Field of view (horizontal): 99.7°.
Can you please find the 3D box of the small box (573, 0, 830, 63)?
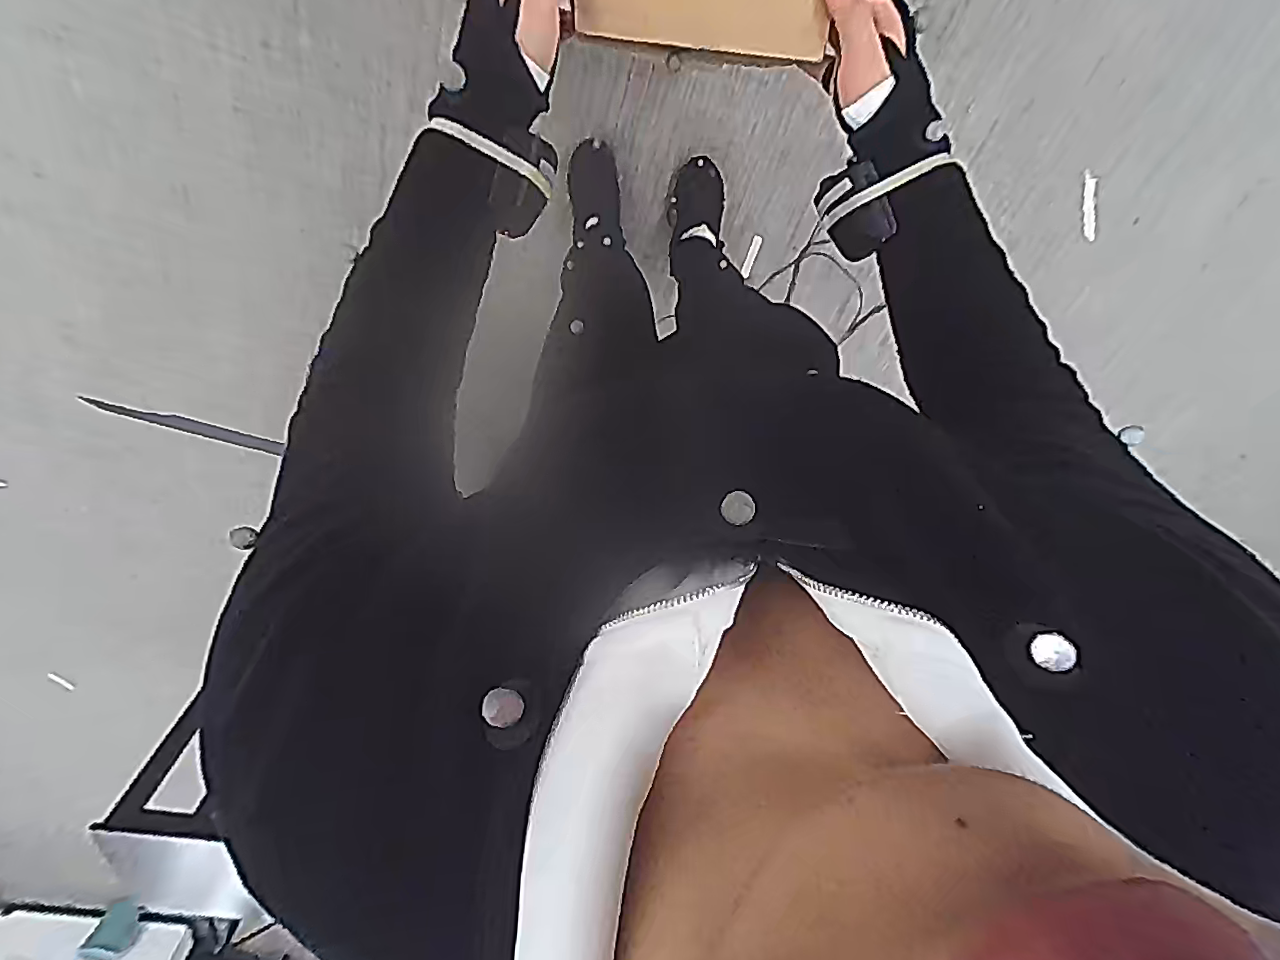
[{"bbox_3d":[0.045,-0.418,0.395,0.179,0.176,0.168,3,127,-6],"label":"small box"}]
